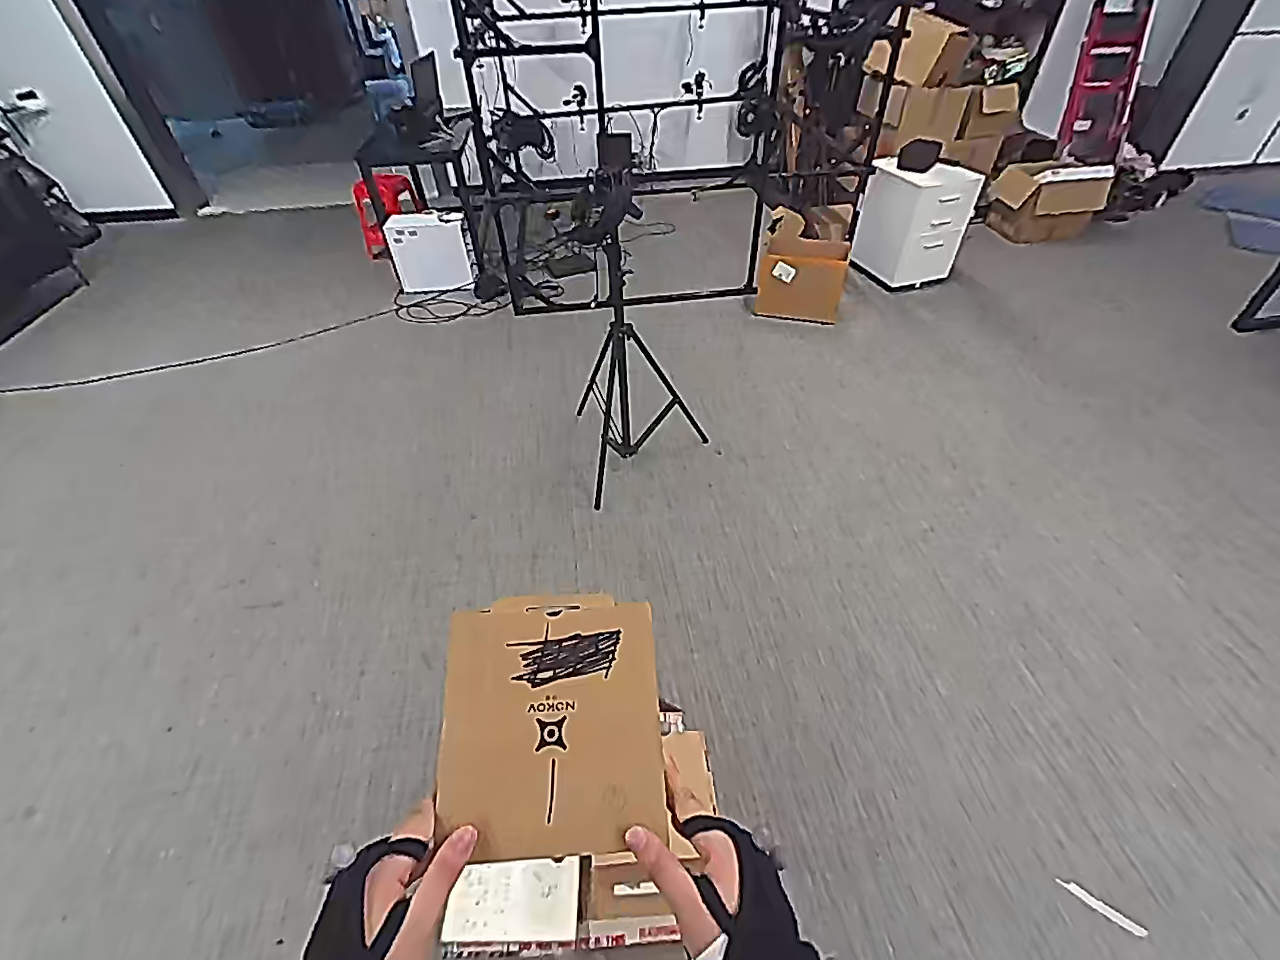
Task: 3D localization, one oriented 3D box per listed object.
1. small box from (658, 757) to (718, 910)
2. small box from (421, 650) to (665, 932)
[{"bbox_3d":[0.010,0.538,0.819,0.179,0.176,0.168,-3,45,-3],"label":"small box"},{"bbox_3d":[-0.073,0.255,0.470,0.168,0.176,0.179,-2,63,-4],"label":"small box"}]
